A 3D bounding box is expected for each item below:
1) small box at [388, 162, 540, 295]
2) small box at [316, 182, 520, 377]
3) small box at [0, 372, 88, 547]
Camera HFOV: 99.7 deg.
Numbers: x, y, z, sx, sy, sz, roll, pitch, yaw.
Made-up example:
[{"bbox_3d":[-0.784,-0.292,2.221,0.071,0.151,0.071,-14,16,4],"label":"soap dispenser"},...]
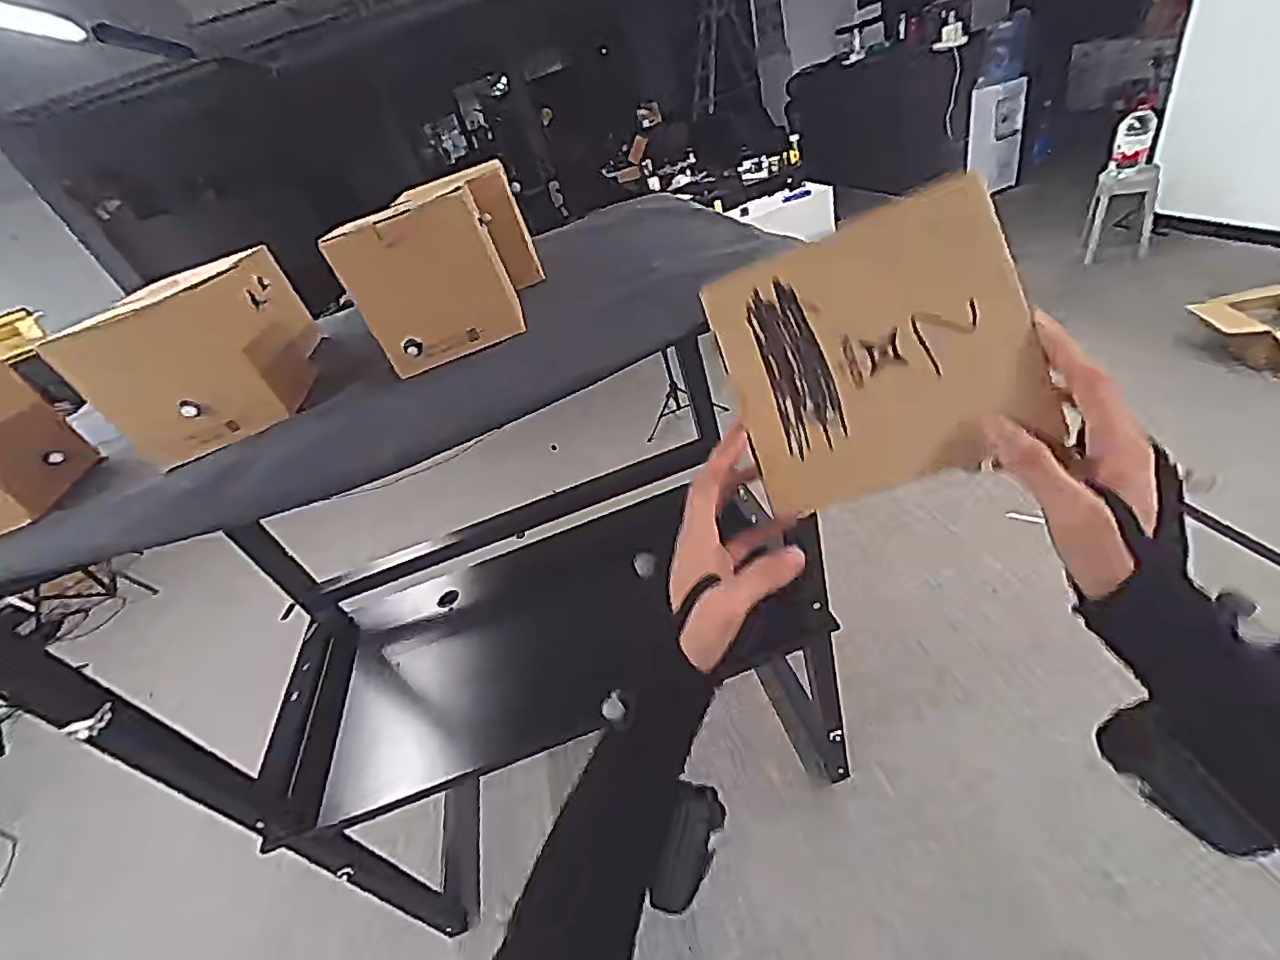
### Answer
[{"bbox_3d":[-0.271,-0.386,0.865,0.168,0.176,0.179,-21,37,-1],"label":"small box"},{"bbox_3d":[-0.261,-0.250,0.680,0.168,0.176,0.179,-23,34,-2],"label":"small box"},{"bbox_3d":[-0.833,-0.009,0.642,0.168,0.176,0.179,-25,37,-8],"label":"small box"}]
